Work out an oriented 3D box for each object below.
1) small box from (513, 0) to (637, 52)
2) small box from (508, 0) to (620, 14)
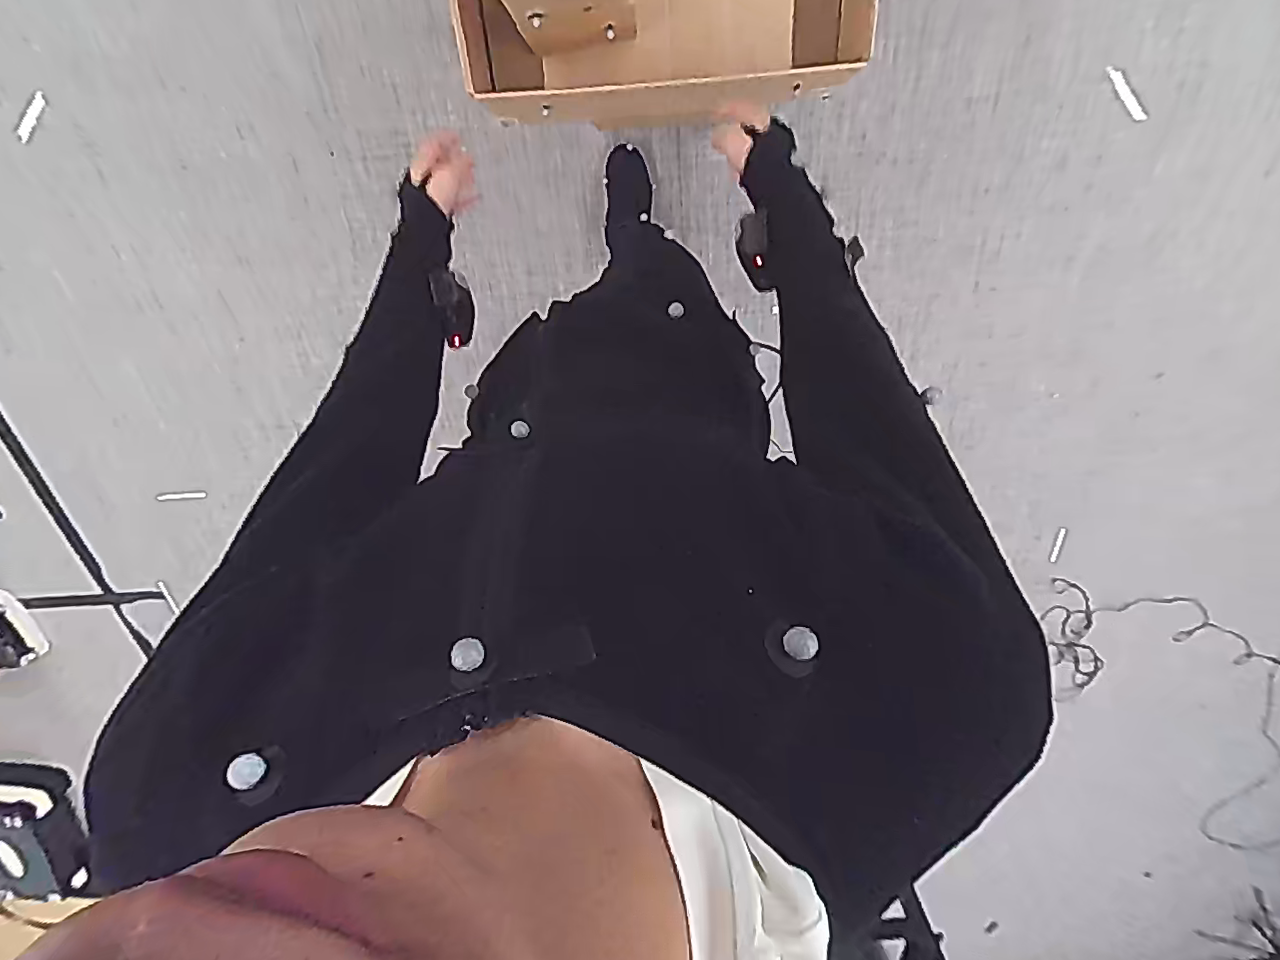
[{"bbox_3d":[-0.100,-0.764,0.795,0.179,0.176,0.168,-7,115,5],"label":"small box"},{"bbox_3d":[-0.105,-0.697,0.646,0.168,0.176,0.179,-7,114,3],"label":"small box"}]
